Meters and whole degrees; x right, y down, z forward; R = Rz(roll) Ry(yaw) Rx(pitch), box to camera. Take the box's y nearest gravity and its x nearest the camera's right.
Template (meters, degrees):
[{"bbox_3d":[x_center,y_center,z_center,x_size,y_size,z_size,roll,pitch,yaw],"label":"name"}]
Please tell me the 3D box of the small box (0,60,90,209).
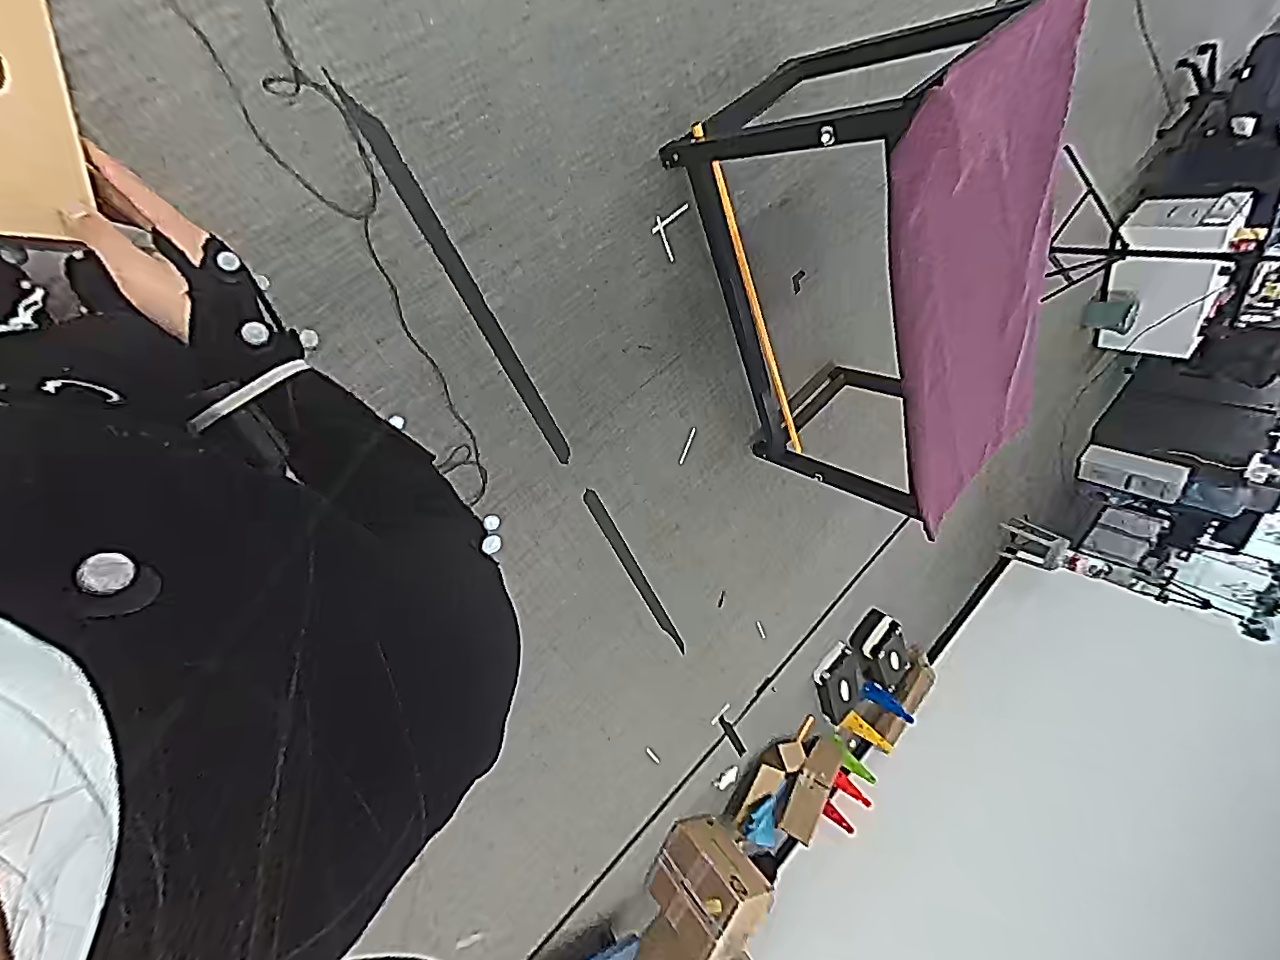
[{"bbox_3d":[-0.930,-0.487,0.750,0.168,0.176,0.179,-35,130,-22],"label":"small box"}]
